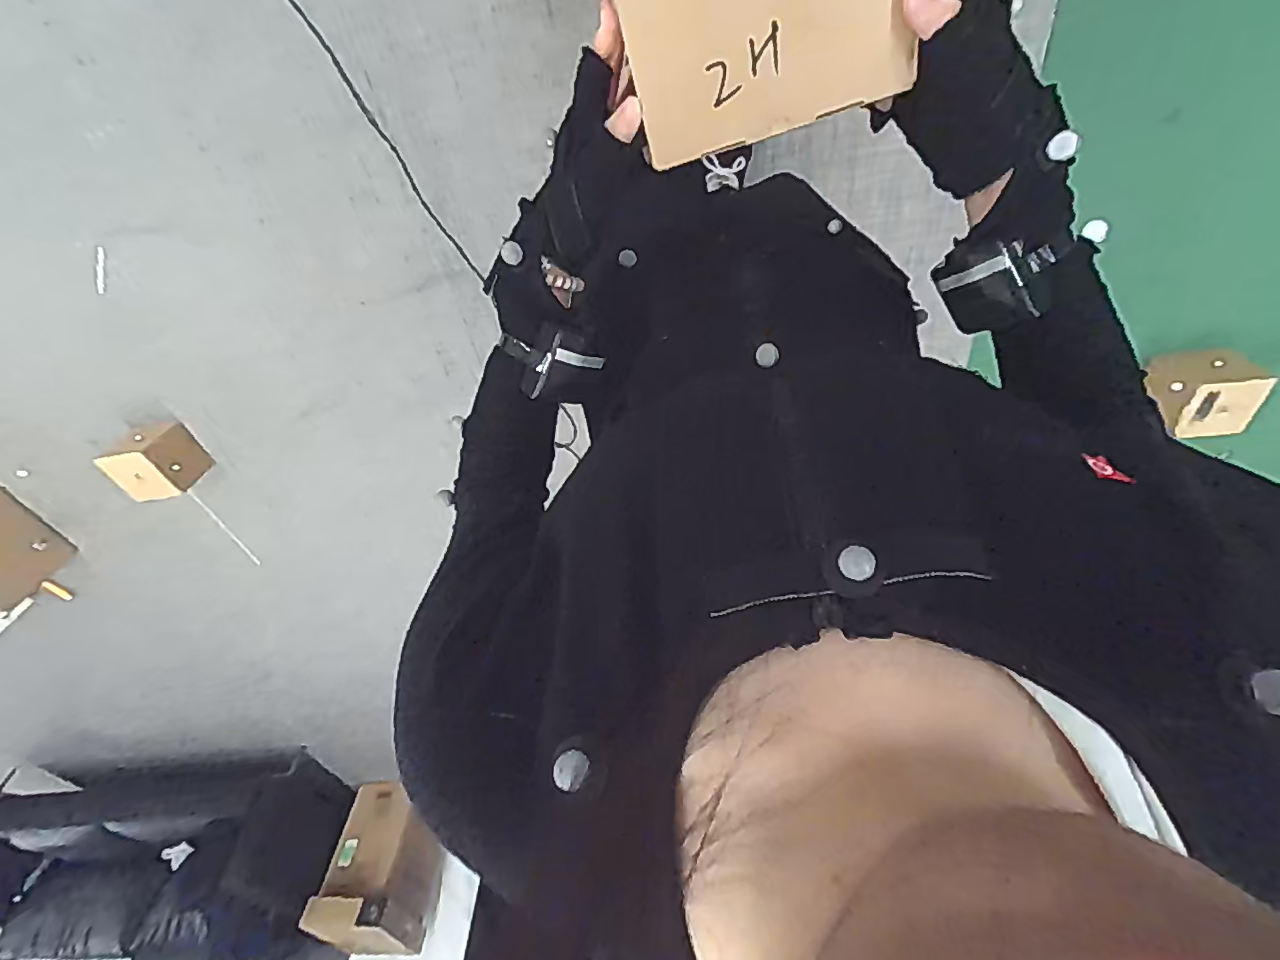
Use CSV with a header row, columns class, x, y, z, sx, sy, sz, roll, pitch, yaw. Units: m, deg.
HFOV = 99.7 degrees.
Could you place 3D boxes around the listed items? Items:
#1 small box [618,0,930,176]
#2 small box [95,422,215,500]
class,x,y,z,sx,sy,sz,roll,pitch,yaw
small box,0.067,-0.326,0.340,0.168,0.176,0.179,-12,132,11
small box,-1.486,-0.065,1.670,0.168,0.176,0.179,-8,131,8
